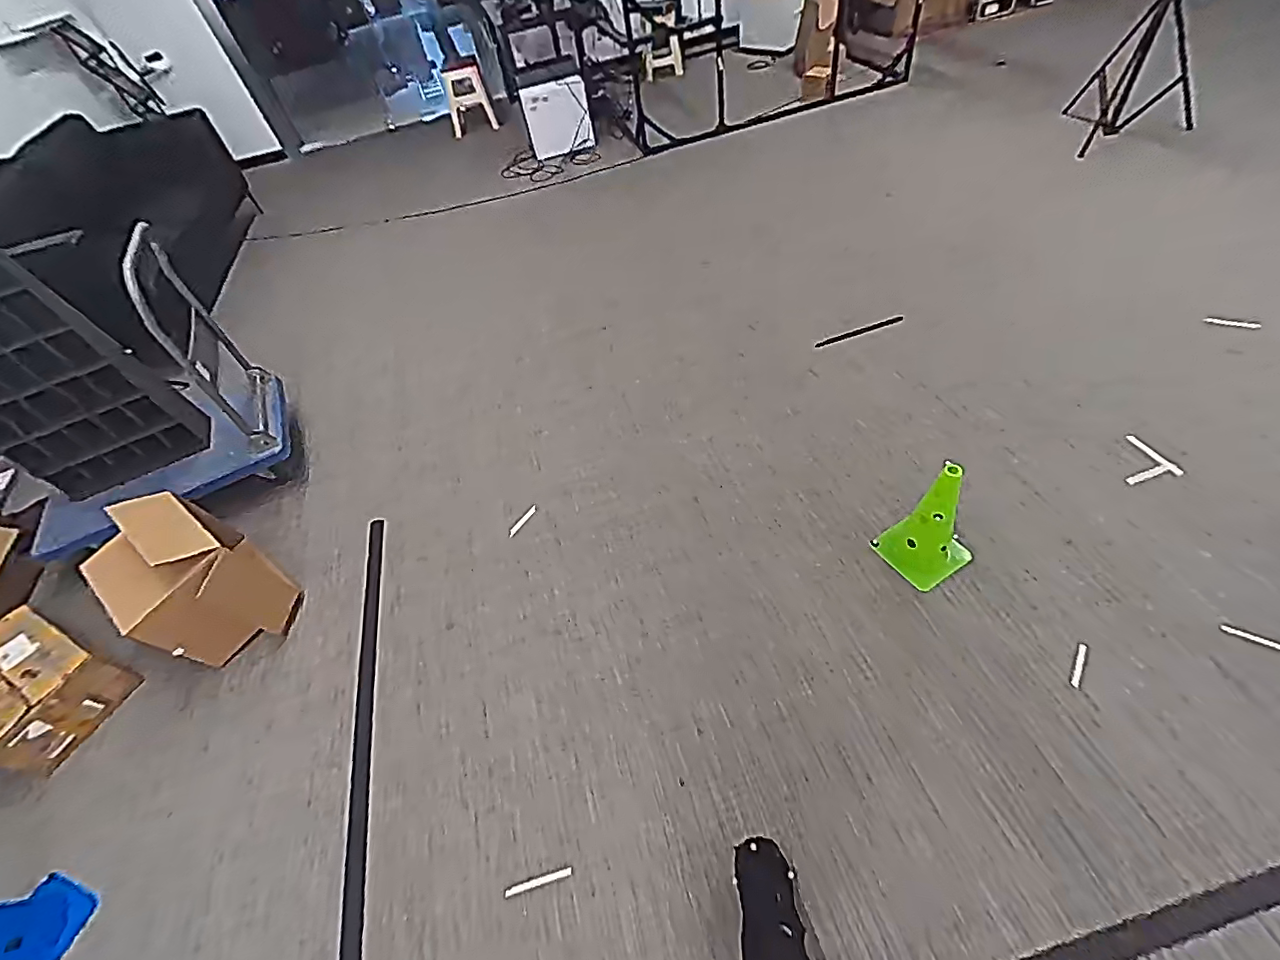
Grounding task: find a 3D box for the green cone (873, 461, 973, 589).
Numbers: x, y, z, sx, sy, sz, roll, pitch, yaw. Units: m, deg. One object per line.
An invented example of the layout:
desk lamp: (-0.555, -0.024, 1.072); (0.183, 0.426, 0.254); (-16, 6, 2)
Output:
green cone: (0.779, 0.088, 1.410); (0.202, 0.368, 0.200); (-29, 51, -14)
